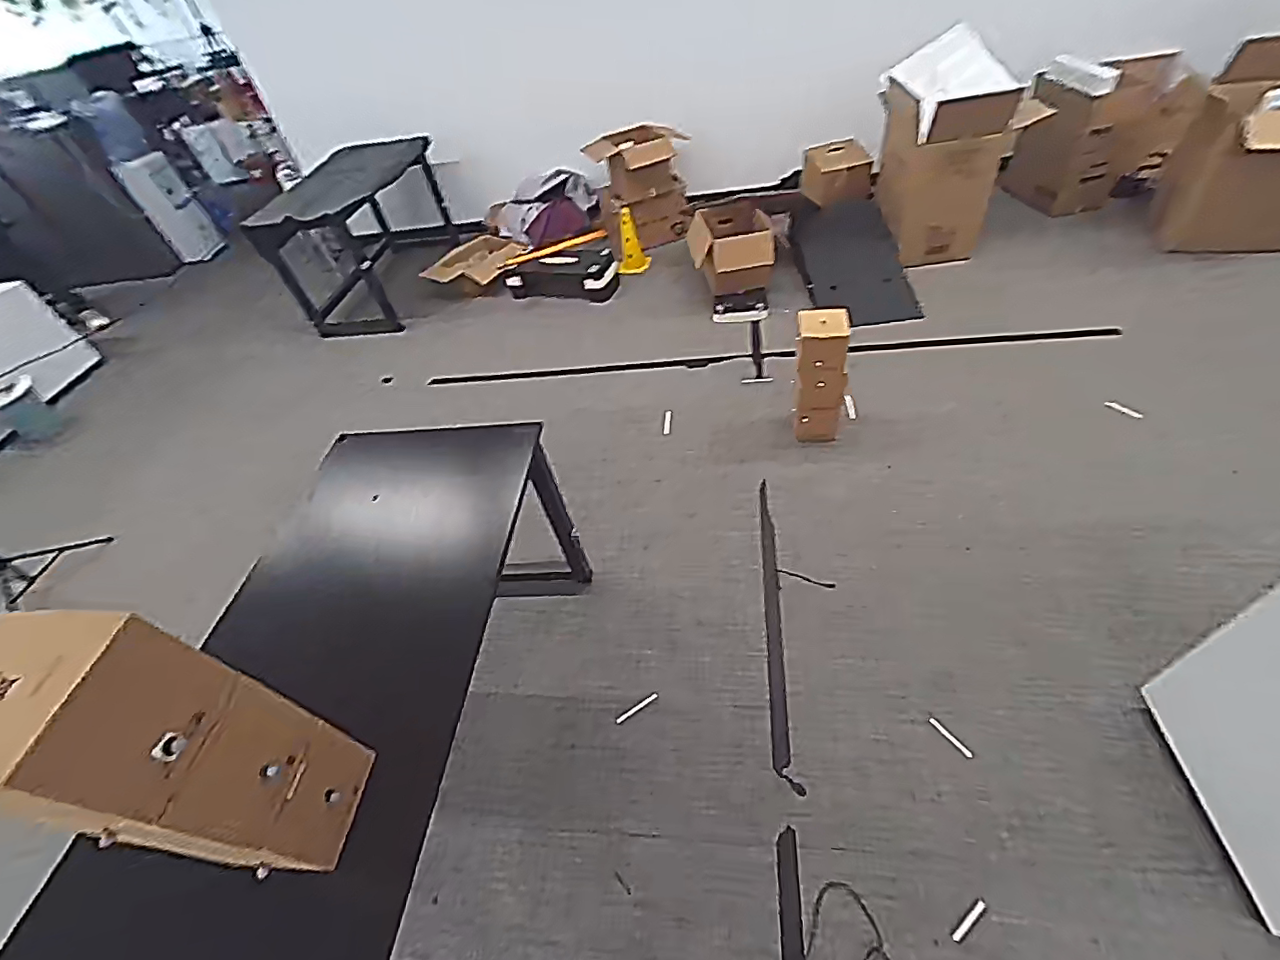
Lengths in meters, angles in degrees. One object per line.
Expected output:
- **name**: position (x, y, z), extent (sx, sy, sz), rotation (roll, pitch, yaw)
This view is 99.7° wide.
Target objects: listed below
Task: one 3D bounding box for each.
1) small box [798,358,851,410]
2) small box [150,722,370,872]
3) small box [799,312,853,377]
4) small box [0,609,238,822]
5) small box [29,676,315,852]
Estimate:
- **small box**: position (0.717, -0.389, 2.121), extent (0.179, 0.176, 0.168), rotation (-1, 48, 9)
- **small box**: position (-0.544, 0.472, 0.809), extent (0.179, 0.176, 0.168), rotation (-3, 47, 8)
- **small box**: position (0.685, -0.503, 2.009), extent (0.168, 0.176, 0.179), rotation (0, 48, 11)
- **small box**: position (-0.594, 0.251, 0.573), extent (0.179, 0.176, 0.168), rotation (-3, 48, 8)
- **small box**: position (-0.570, 0.361, 0.689), extent (0.179, 0.176, 0.168), rotation (-3, 48, 9)
